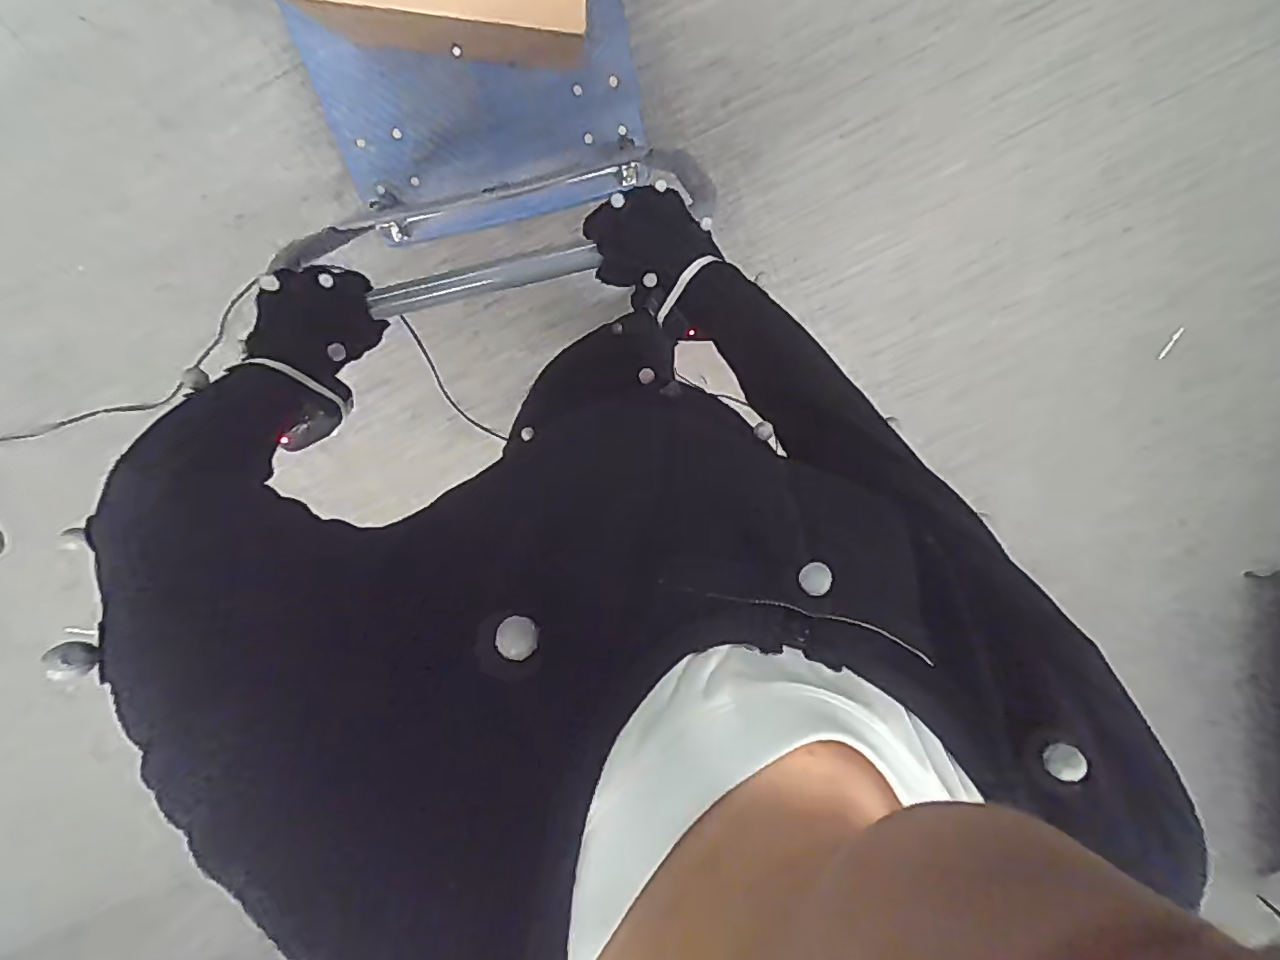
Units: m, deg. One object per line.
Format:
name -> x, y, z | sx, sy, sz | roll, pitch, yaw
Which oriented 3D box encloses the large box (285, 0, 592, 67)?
large box -> -0.272, -0.825, 0.784 | 0.408, 0.320, 0.320 | 1, 119, -8
